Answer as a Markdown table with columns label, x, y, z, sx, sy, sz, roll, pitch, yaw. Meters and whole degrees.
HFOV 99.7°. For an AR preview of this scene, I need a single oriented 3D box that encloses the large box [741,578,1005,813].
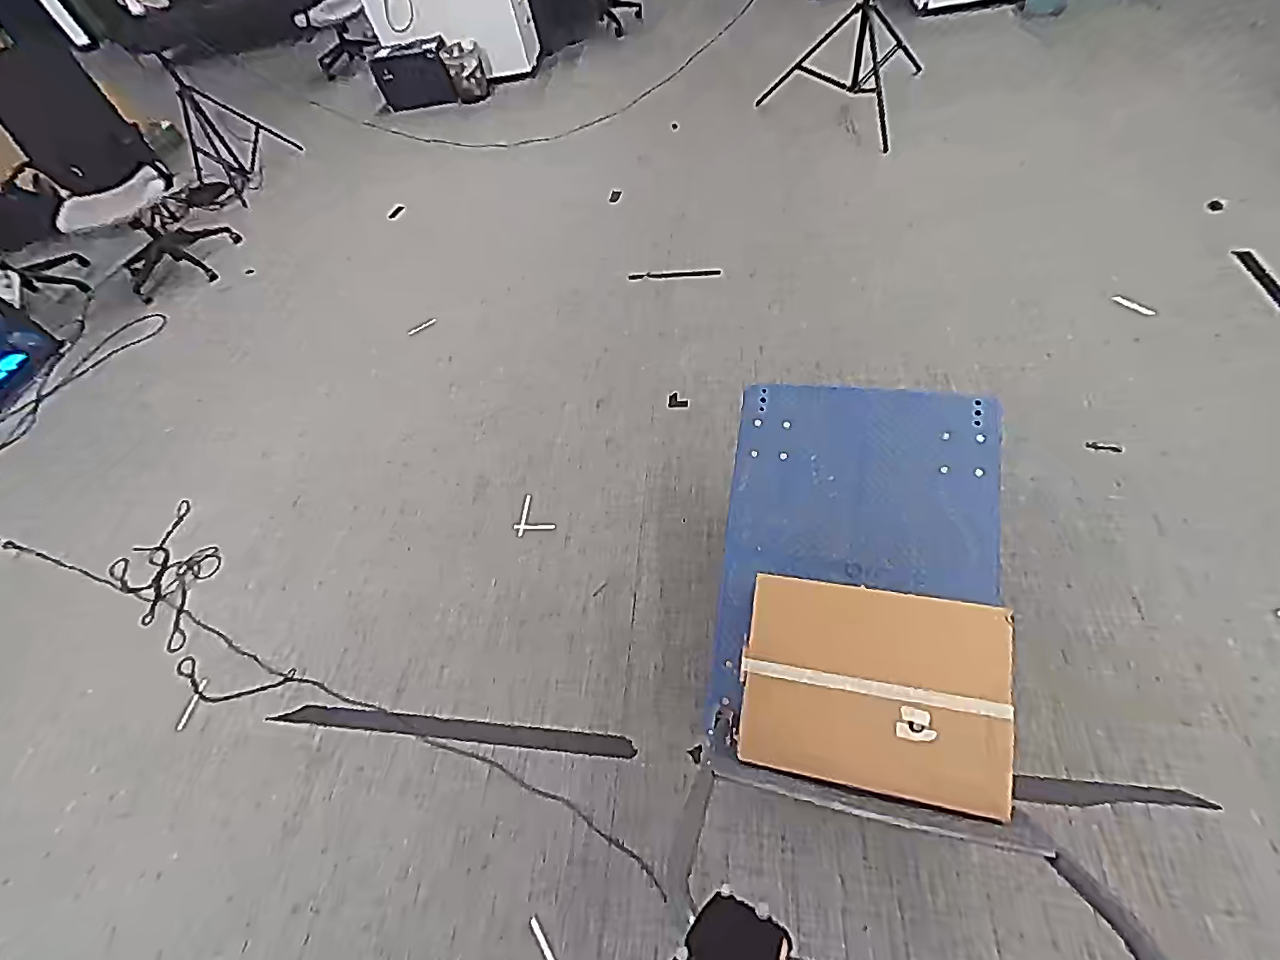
| label | x | y | z | sx | sy | sz | roll | pitch | yaw |
| --- | --- | --- | --- | --- | --- | --- | --- | --- | --- |
| large box | 0.413 | 0.380 | 1.041 | 0.408 | 0.320 | 0.320 | 6 | 78 | 14 |
